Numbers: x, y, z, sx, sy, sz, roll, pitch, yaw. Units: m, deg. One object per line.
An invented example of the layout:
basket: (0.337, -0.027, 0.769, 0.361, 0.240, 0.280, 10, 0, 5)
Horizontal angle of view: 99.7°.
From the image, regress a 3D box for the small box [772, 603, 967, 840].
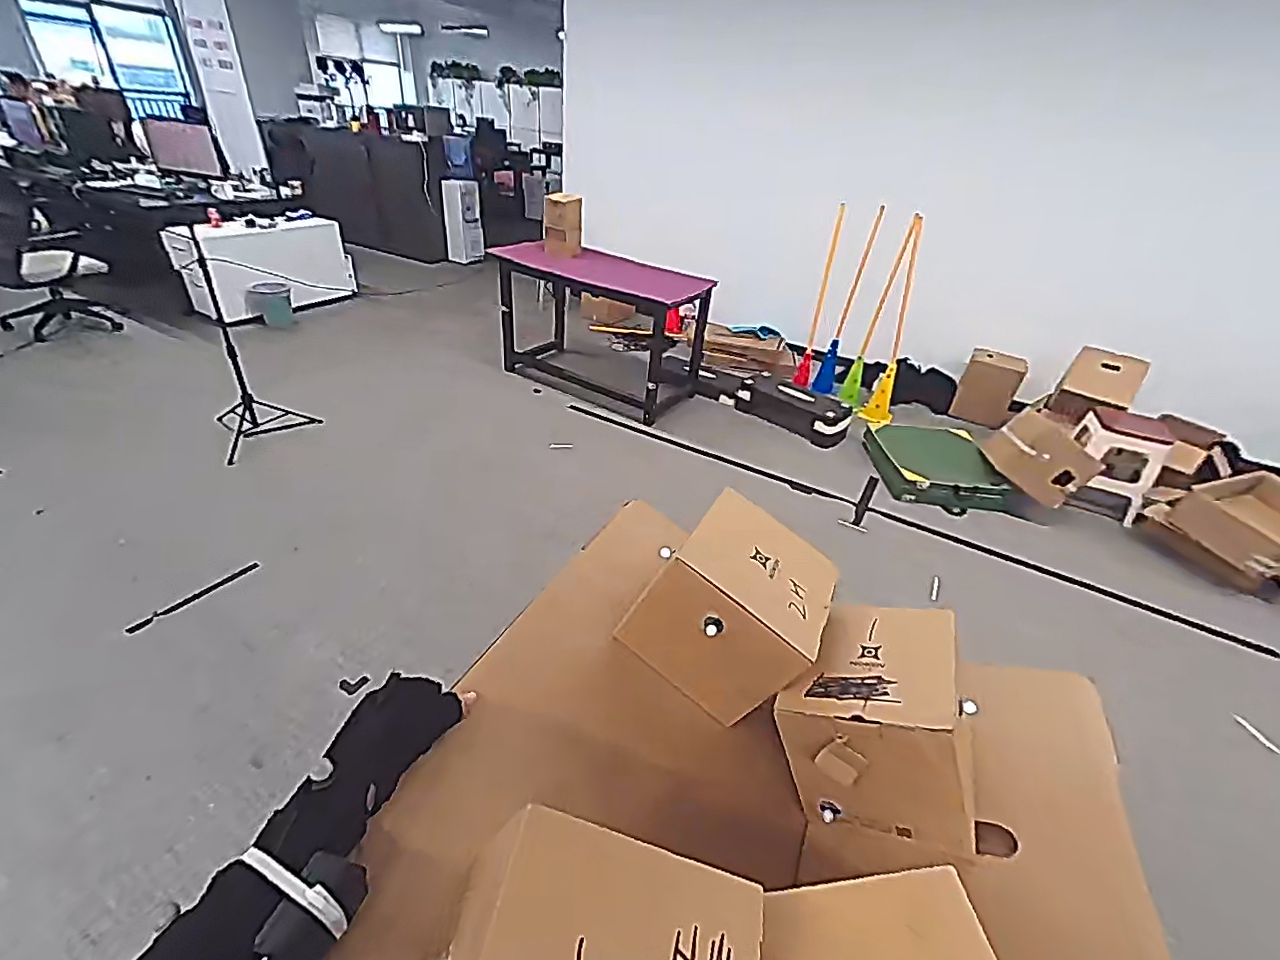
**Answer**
small box: (0.269, 0.262, 0.617, 0.168, 0.176, 0.179, -6, 22, 33)
